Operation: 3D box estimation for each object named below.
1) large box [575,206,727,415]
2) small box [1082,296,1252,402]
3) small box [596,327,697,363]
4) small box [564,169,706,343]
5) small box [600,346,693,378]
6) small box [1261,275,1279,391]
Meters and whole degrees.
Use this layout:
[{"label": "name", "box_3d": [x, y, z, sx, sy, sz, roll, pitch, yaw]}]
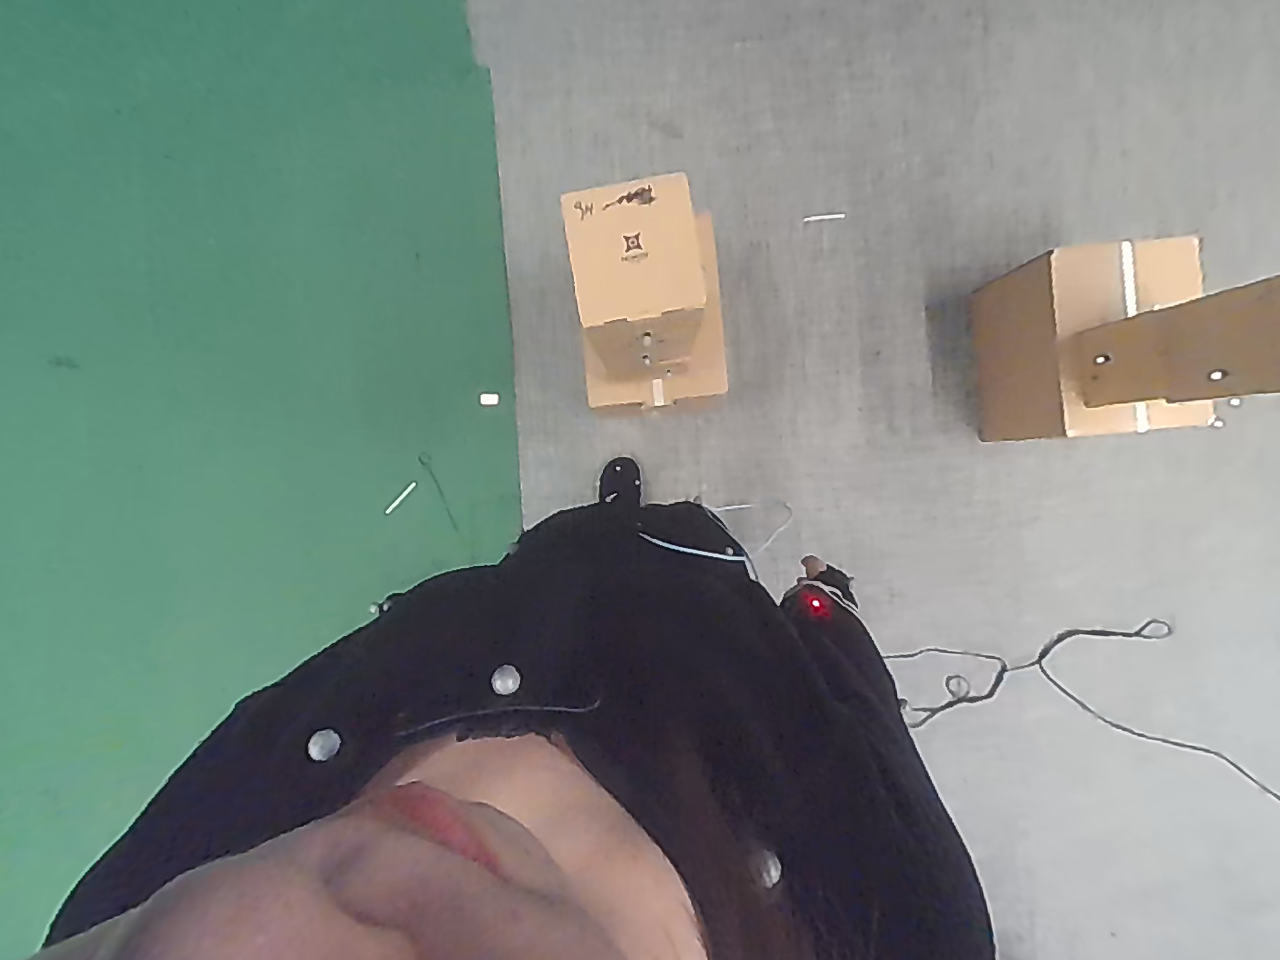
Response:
[{"label": "large box", "box_3d": [0.026, -0.389, 1.337, 0.320, 0.320, 0.408, -6, 91, 2]}, {"label": "small box", "box_3d": [1.030, -0.250, 1.070, 0.179, 0.176, 0.168, -7, 93, 3]}, {"label": "small box", "box_3d": [0.001, -0.308, 0.933, 0.168, 0.176, 0.179, -11, 91, 2]}, {"label": "small box", "box_3d": [-0.003, -0.300, 0.768, 0.168, 0.176, 0.179, -9, 92, 2]}, {"label": "small box", "box_3d": [0.007, -0.307, 1.097, 0.179, 0.176, 0.168, -7, 92, 3]}, {"label": "small box", "box_3d": [1.025, -0.222, 0.741, 0.168, 0.176, 0.179, -4, 94, 3]}]
